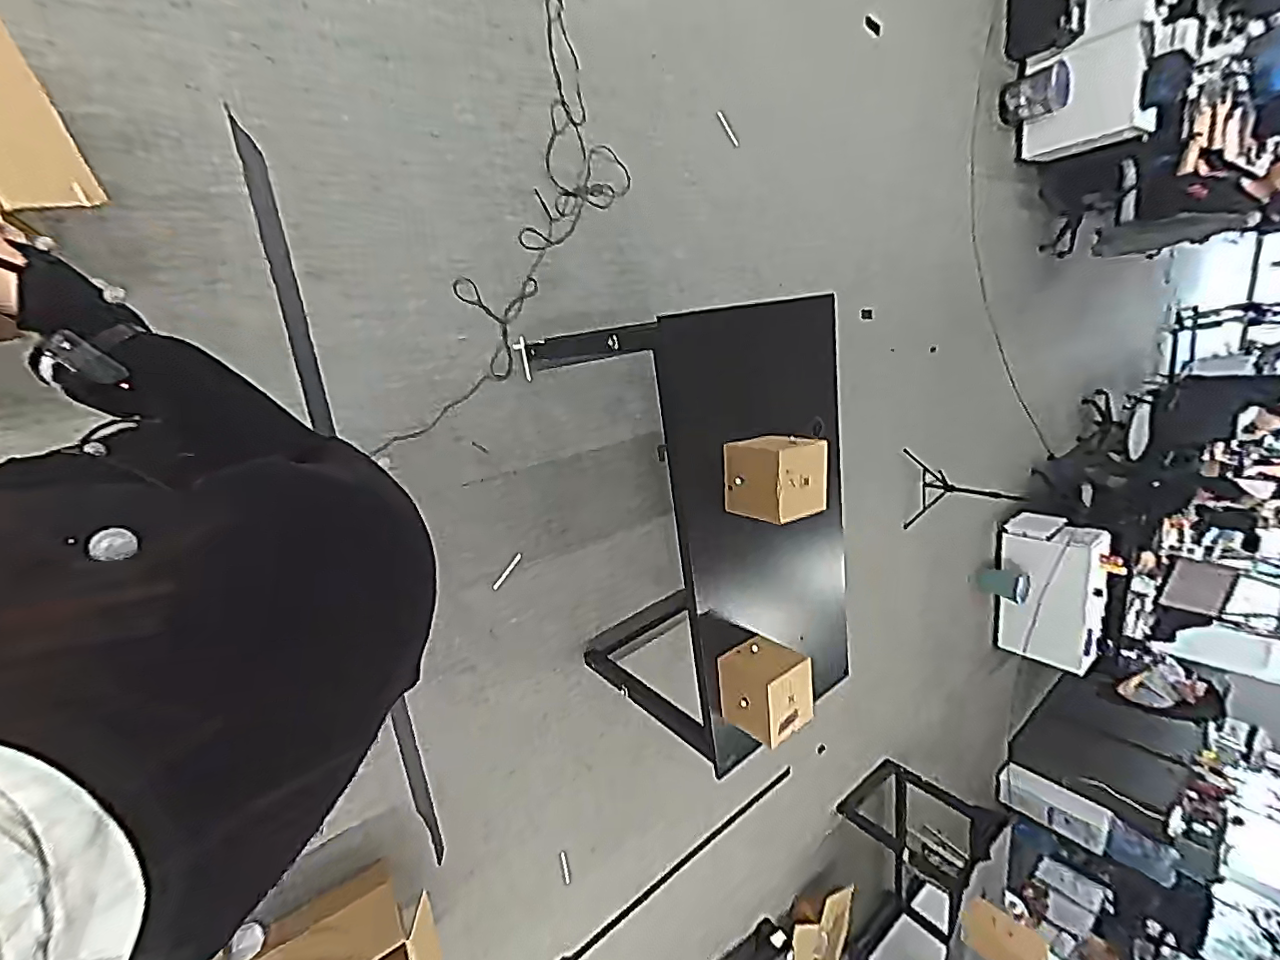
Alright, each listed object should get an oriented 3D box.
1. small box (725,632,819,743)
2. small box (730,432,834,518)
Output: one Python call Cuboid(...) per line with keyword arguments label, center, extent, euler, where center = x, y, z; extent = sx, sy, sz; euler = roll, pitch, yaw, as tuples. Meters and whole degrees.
Cuboid(label="small box", center=(0.333, 0.516, 1.372), extent=(0.168, 0.176, 0.179), euler=(-16, 106, -34))
Cuboid(label="small box", center=(0.334, -0.019, 1.279), extent=(0.179, 0.176, 0.168), euler=(-12, 104, -34))
